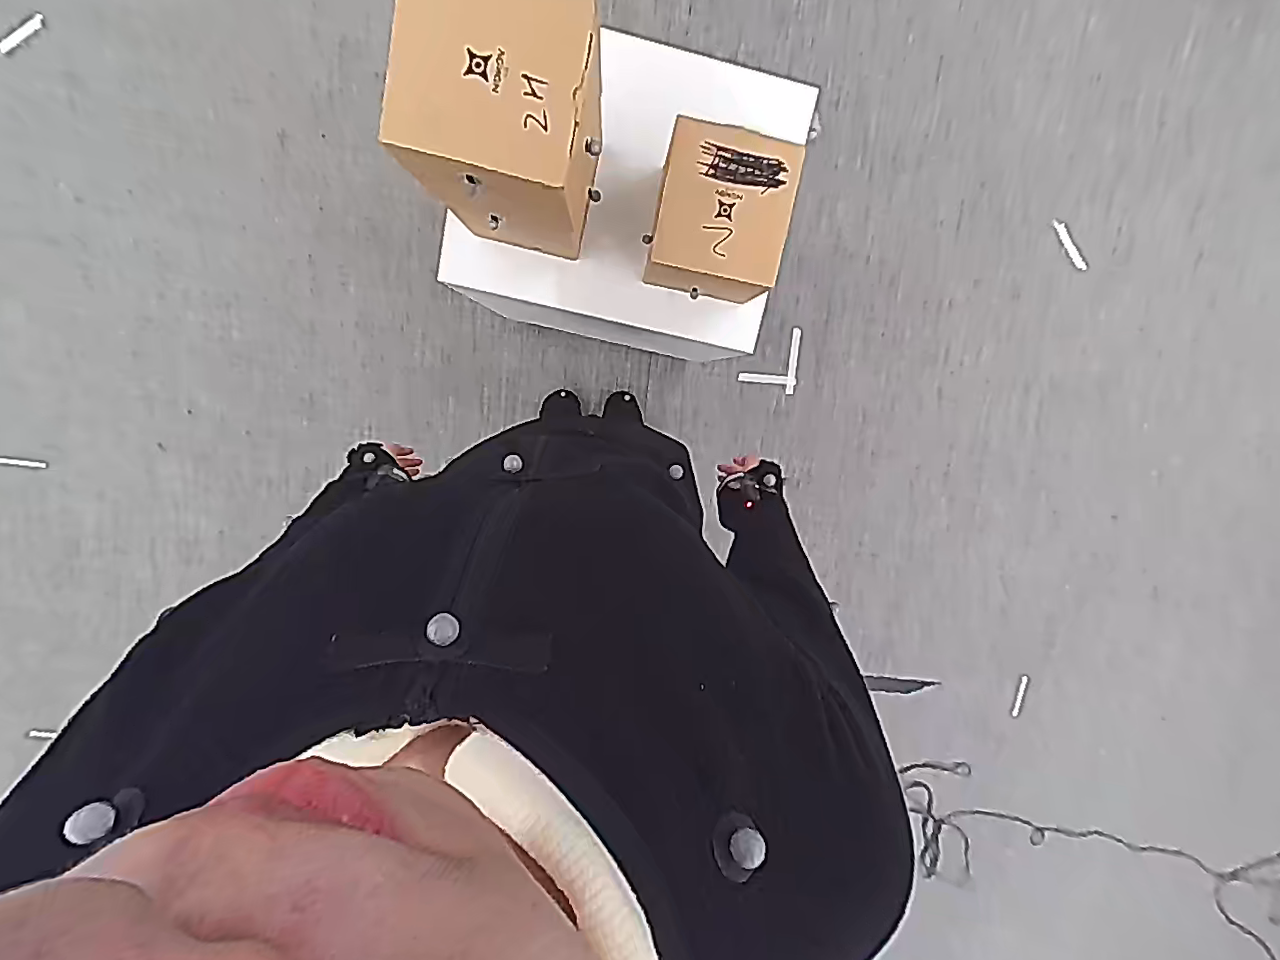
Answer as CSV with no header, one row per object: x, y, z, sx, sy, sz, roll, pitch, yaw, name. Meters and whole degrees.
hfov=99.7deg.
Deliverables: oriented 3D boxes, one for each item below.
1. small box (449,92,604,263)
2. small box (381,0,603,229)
-0.147,-0.418,0.729,0.168,0.176,0.179,13,99,-5,small box
-0.140,-0.383,0.568,0.179,0.176,0.168,12,101,-6,small box
